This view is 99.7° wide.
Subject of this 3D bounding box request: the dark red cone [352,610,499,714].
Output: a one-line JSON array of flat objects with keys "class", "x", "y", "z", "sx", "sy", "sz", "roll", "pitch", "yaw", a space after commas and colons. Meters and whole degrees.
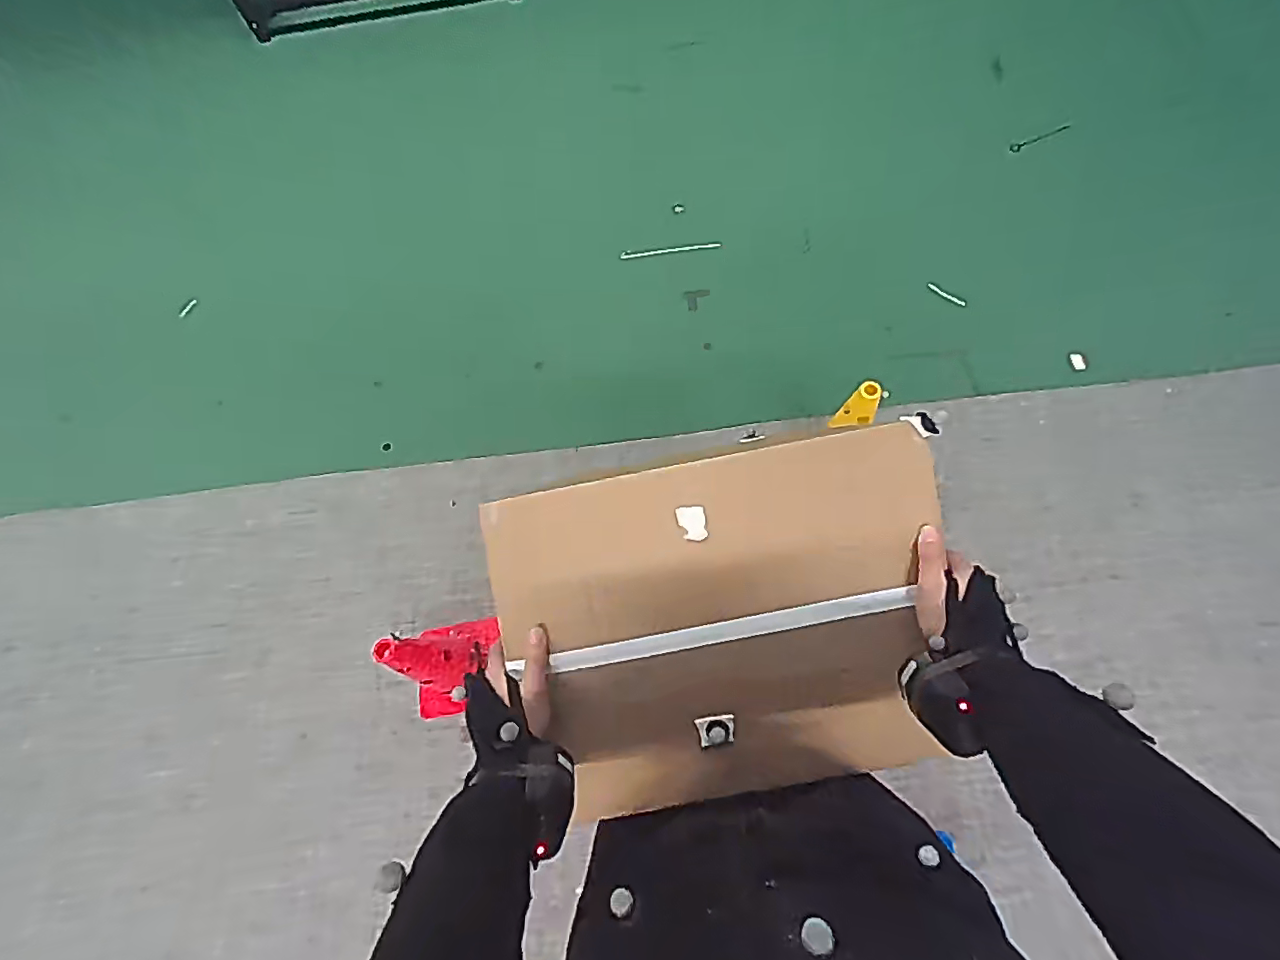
[{"class": "dark red cone", "x": -0.440, "y": 0.340, "z": 1.085, "sx": 0.202, "sy": 0.394, "sz": 0.201, "roll": -14, "pitch": 63, "yaw": 1}]
